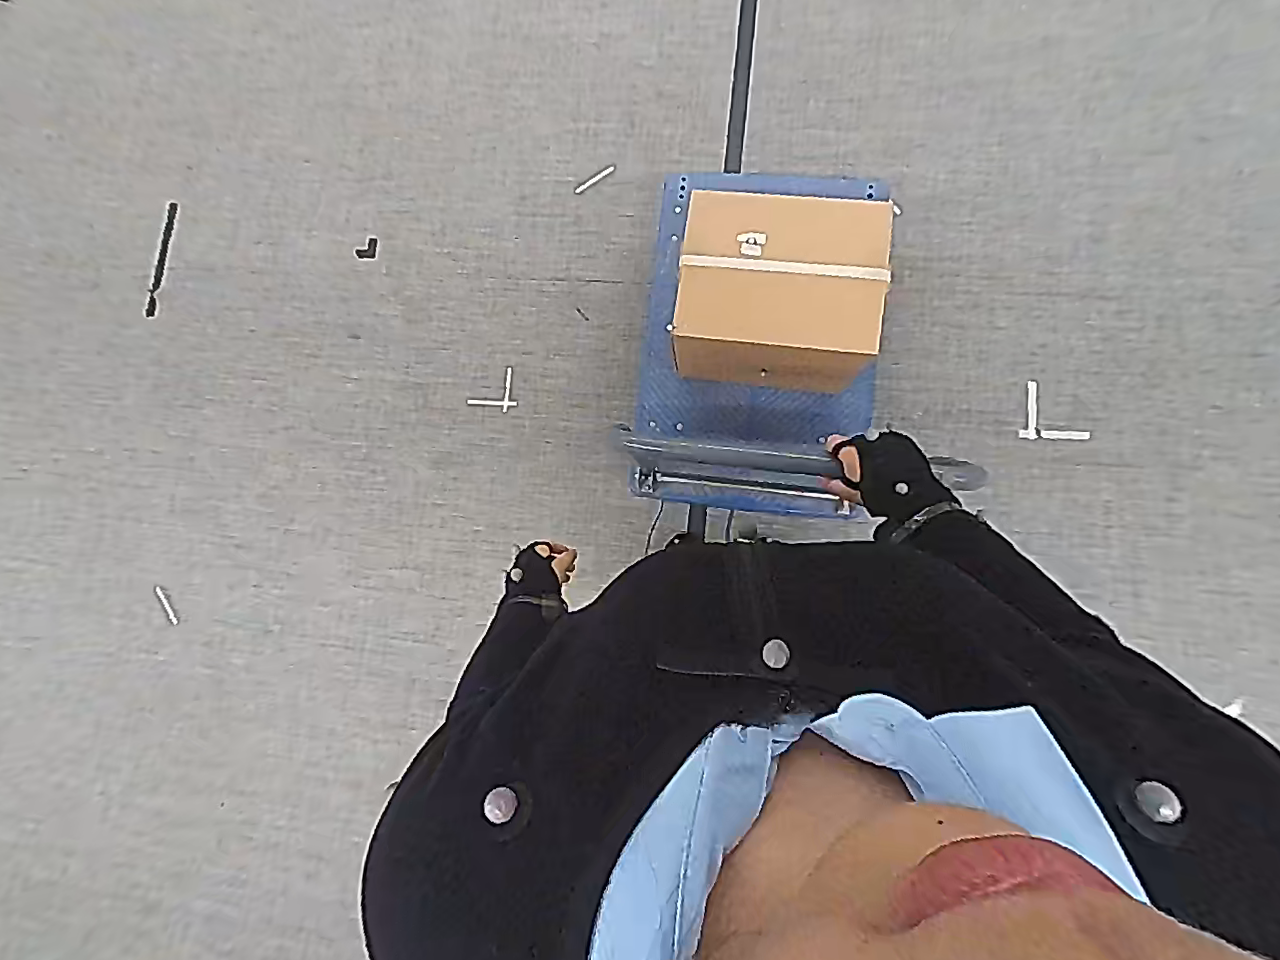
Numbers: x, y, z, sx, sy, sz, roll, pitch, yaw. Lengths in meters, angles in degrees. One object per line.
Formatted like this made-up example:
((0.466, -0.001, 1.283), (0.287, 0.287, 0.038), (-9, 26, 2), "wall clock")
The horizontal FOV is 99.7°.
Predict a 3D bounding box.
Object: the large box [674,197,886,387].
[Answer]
((0.303, -0.410, 1.240), (0.408, 0.320, 0.320), (7, 84, 8), "large box")
